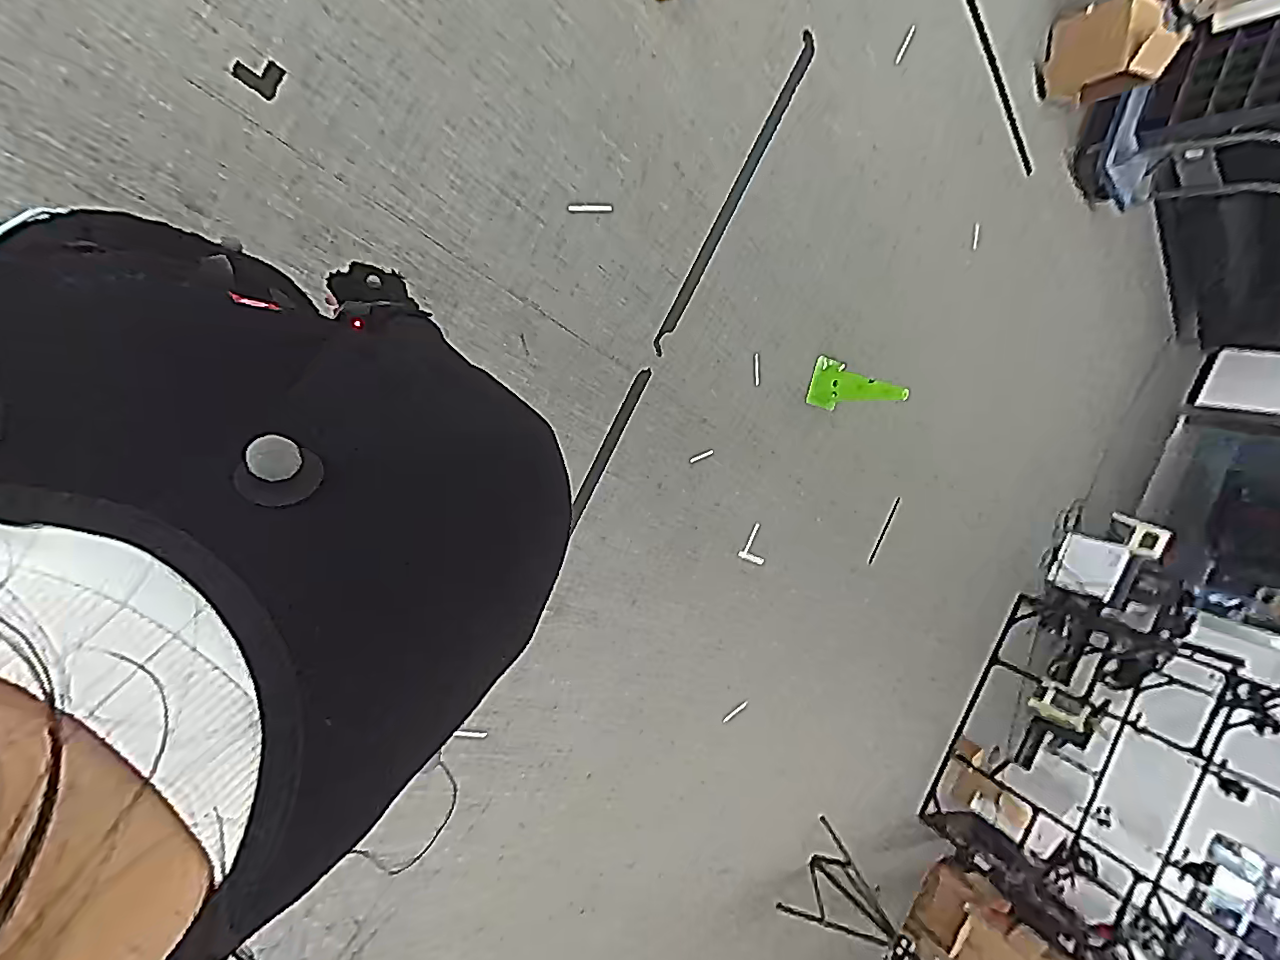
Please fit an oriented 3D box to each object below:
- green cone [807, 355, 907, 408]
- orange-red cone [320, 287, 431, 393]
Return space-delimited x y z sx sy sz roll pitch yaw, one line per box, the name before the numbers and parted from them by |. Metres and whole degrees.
green cone | 0.881 -0.366 2.146 0.200 0.368 0.202 7 101 -37
orange-red cone | -0.518 -0.286 1.143 0.198 0.360 0.199 26 87 -39
